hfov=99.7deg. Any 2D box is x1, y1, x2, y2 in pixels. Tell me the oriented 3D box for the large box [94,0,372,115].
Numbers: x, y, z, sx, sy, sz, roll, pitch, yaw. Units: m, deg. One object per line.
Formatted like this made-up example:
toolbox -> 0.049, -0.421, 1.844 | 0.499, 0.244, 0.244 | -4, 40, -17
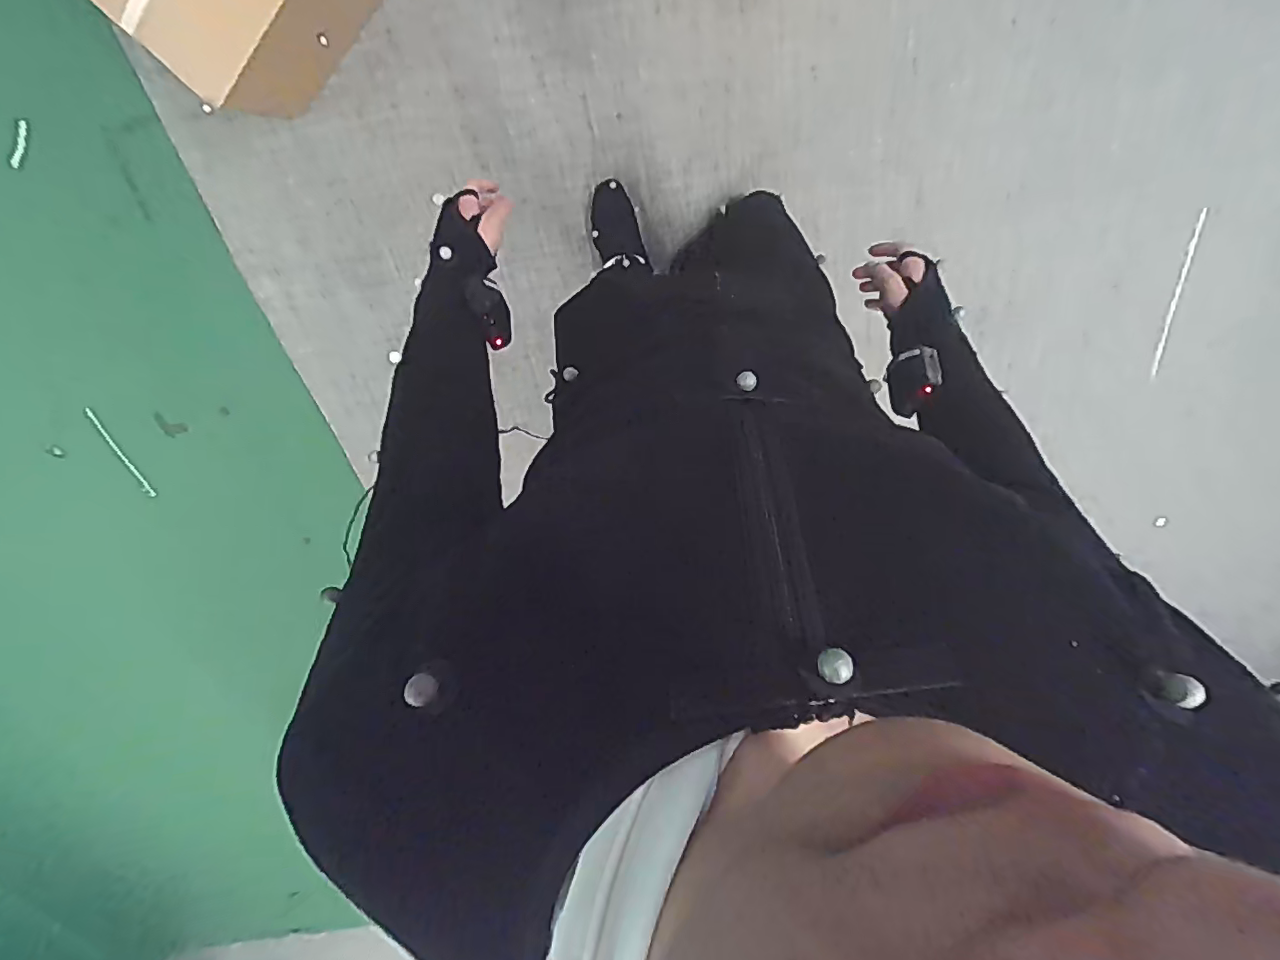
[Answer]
large box -> -0.734, -0.963, 0.985 | 0.408, 0.320, 0.320 | -39, 115, 20
